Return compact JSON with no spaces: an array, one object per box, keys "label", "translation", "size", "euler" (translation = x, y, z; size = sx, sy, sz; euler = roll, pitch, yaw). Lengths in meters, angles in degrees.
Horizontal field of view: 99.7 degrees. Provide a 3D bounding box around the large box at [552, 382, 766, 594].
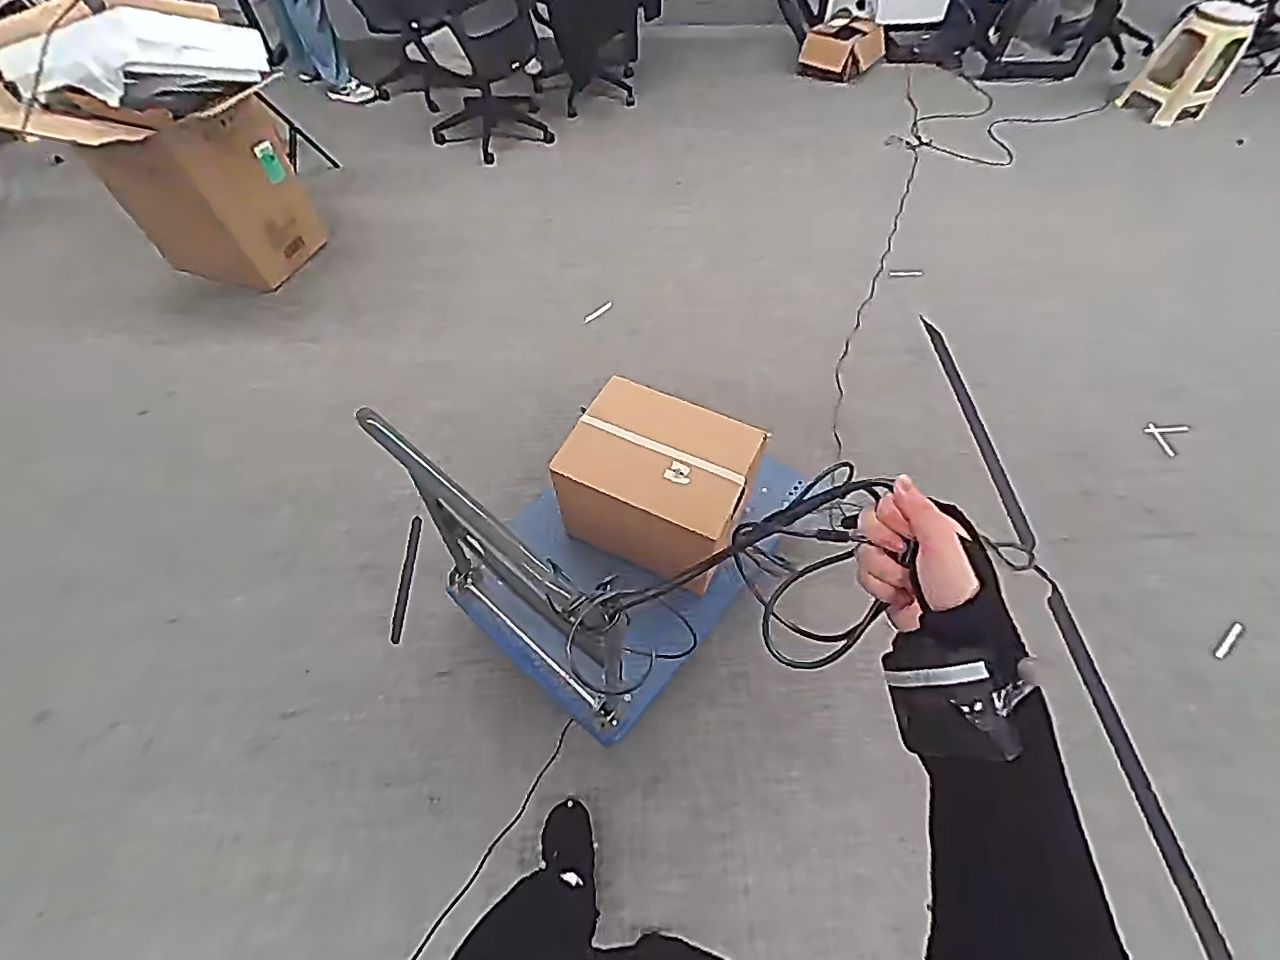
[{"label":"large box","translation":[0.044,0.022,1.336],"size":[0.408,0.320,0.320],"euler":[23,60,14]}]
